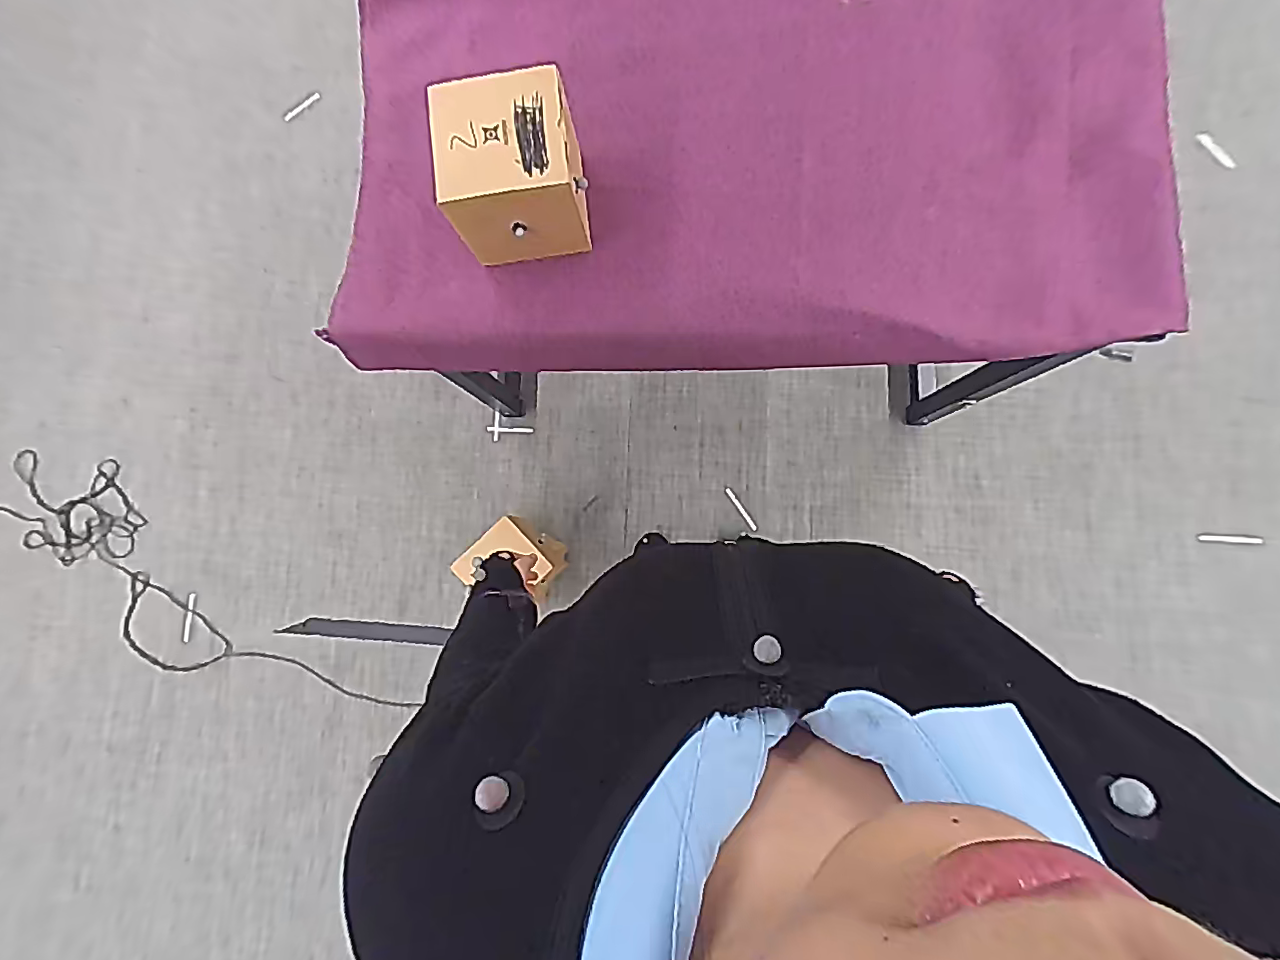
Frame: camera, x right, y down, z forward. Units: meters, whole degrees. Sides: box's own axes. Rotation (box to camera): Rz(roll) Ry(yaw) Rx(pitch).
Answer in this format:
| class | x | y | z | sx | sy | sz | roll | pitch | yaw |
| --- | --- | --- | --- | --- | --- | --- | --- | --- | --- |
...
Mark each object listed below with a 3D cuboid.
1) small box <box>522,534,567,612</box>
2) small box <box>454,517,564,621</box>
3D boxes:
| class | x | y | z | sx | sy | sz | roll | pitch | yaw |
| --- | --- | --- | --- | --- | --- | --- | --- | --- | --- |
| small box | -0.312 | 0.231 | 1.452 | 0.168 | 0.176 | 0.179 | 25 | 86 | 5 |
| small box | -0.299 | 0.206 | 1.288 | 0.179 | 0.176 | 0.168 | -44 | 83 | -2 |
